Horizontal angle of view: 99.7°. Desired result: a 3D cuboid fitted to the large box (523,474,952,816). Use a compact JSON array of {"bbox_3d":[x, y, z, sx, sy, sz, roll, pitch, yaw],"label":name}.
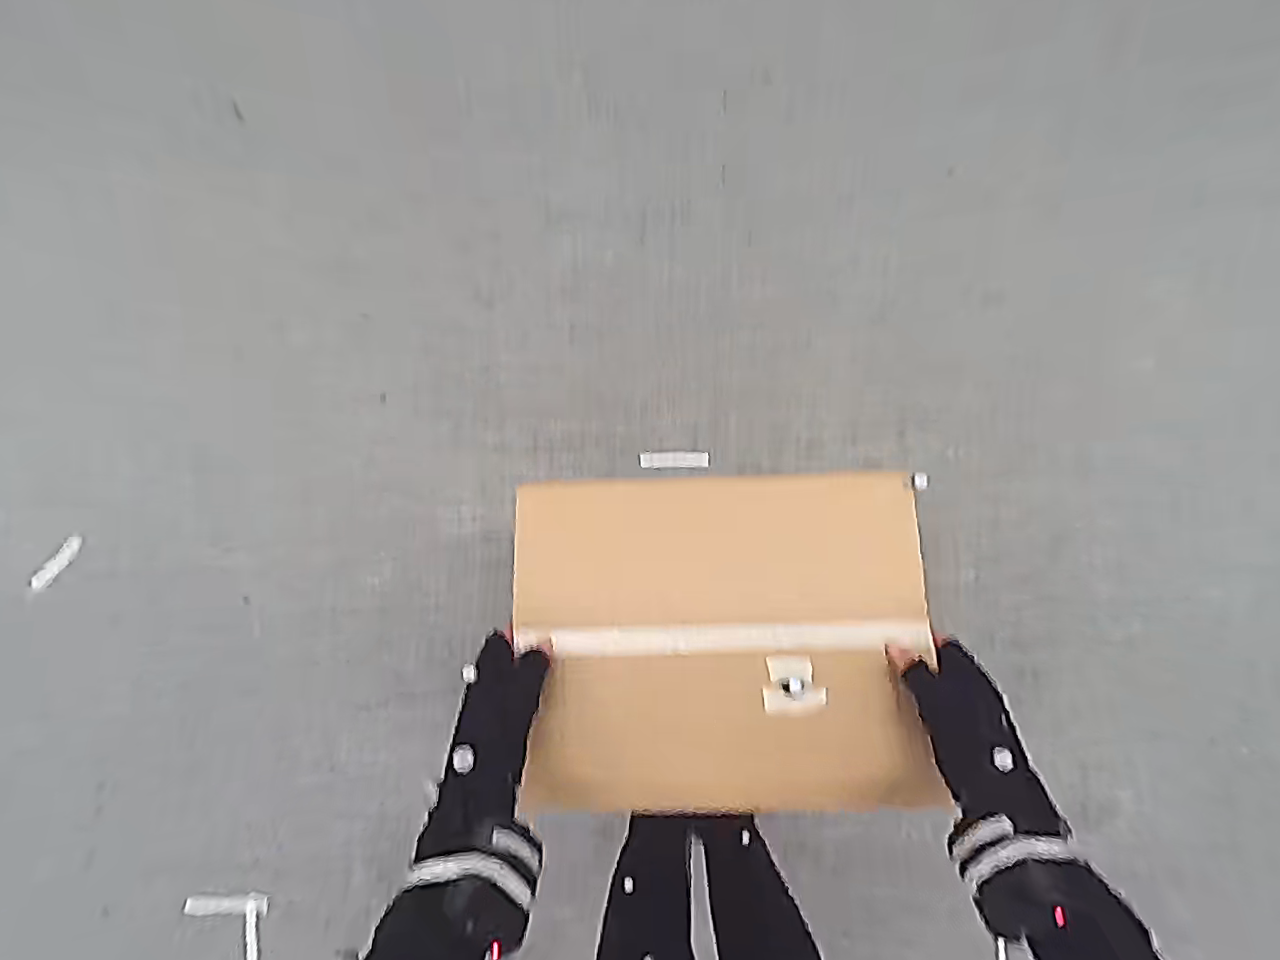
[{"bbox_3d":[0.087,0.182,0.673,0.408,0.320,0.320,-2,80,2],"label":"large box"}]
